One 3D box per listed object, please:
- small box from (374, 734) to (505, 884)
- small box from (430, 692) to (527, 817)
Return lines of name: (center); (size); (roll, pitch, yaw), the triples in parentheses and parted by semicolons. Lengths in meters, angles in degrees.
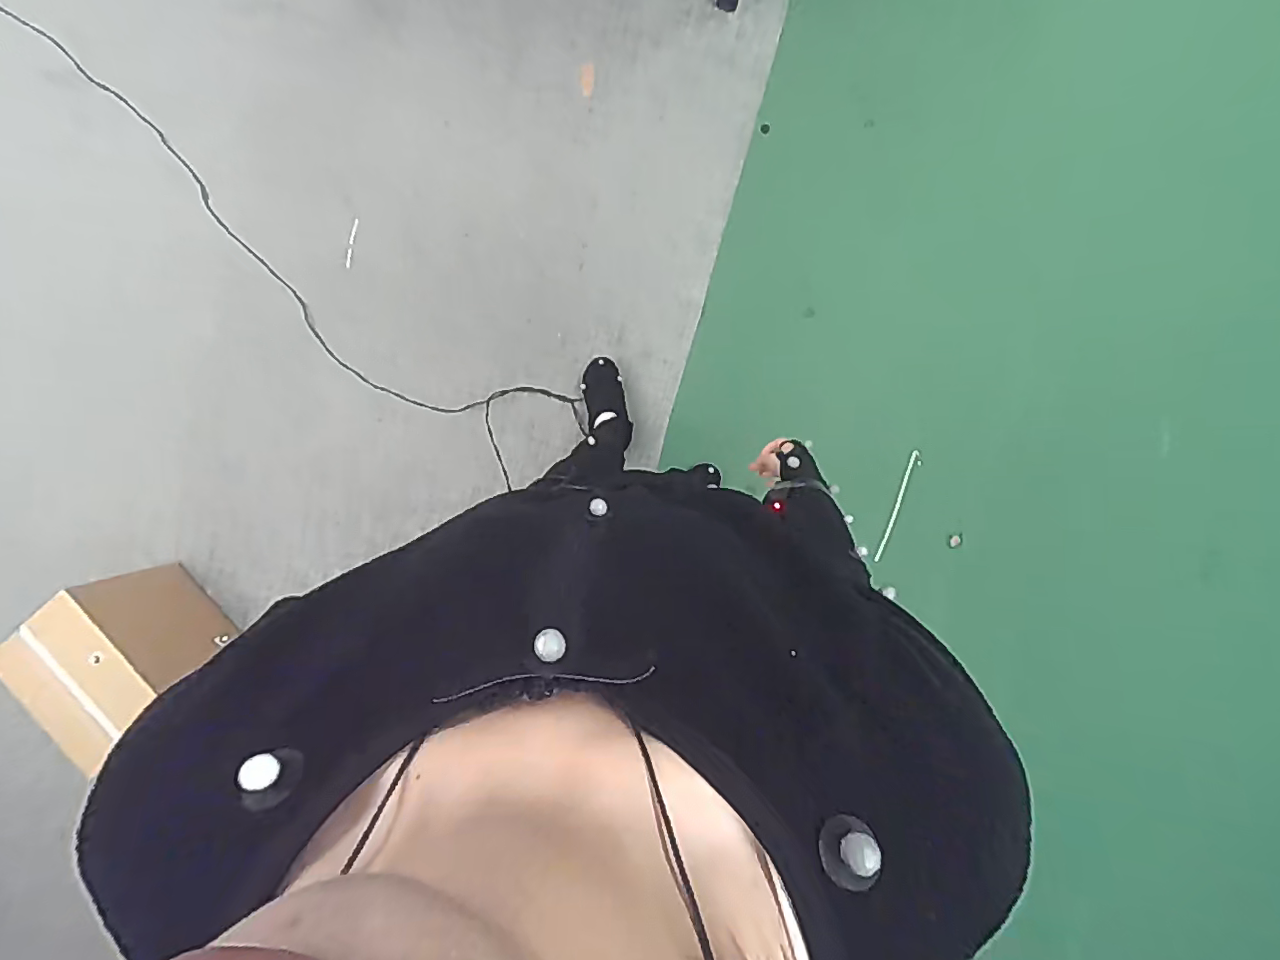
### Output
small box: (-0.370, 0.612, 1.028); (0.179, 0.176, 0.168); (9, 95, 4)
small box: (-0.355, 0.592, 1.187); (0.168, 0.176, 0.179); (8, 95, 4)
